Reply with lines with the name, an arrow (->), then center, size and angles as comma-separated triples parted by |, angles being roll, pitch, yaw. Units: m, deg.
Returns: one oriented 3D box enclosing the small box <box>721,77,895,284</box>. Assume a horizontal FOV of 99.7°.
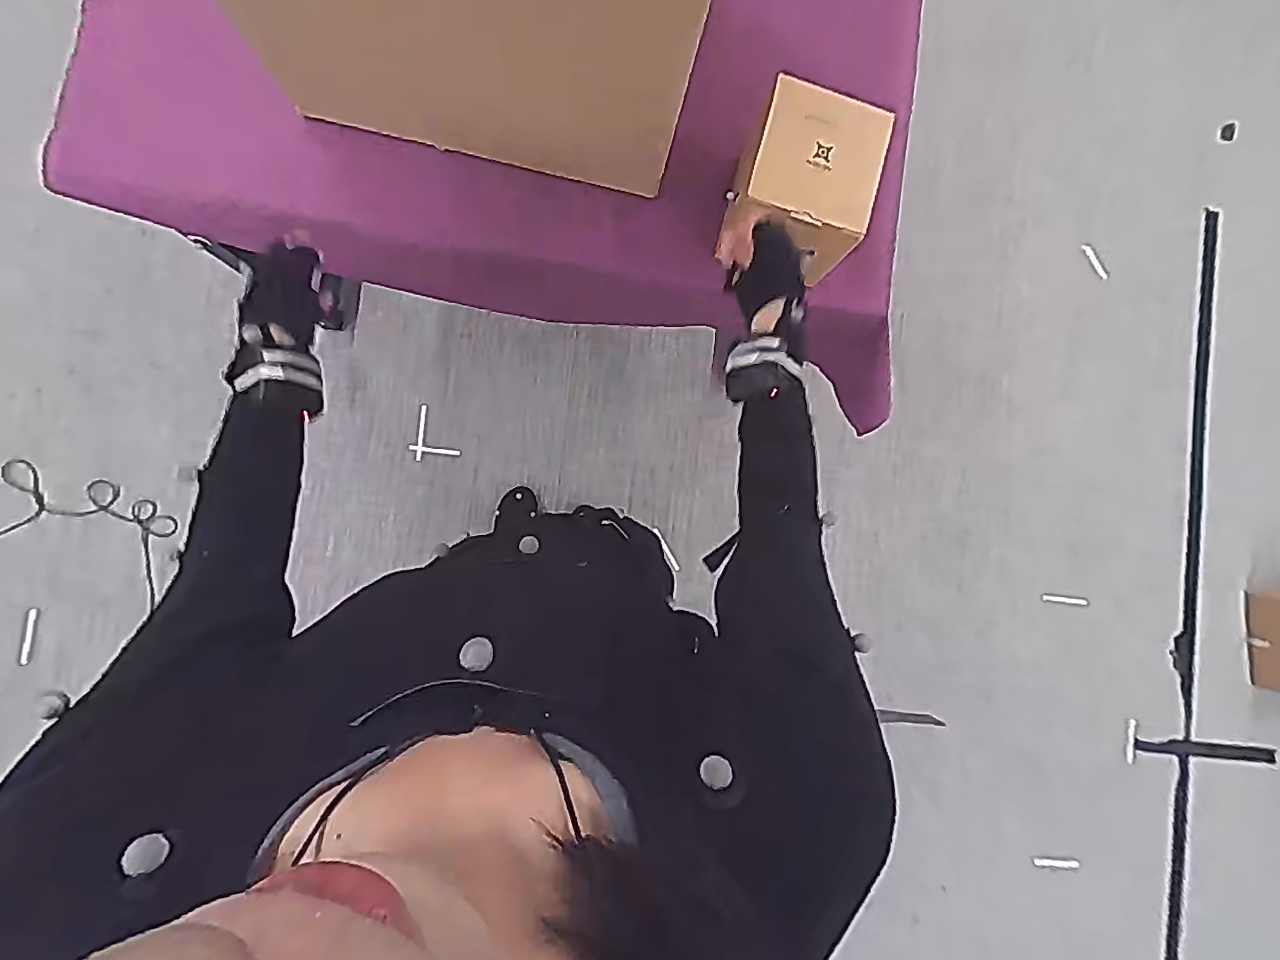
small box -> 0.227, -0.410, 0.775 | 0.168, 0.176, 0.179 | 15, 84, -7
